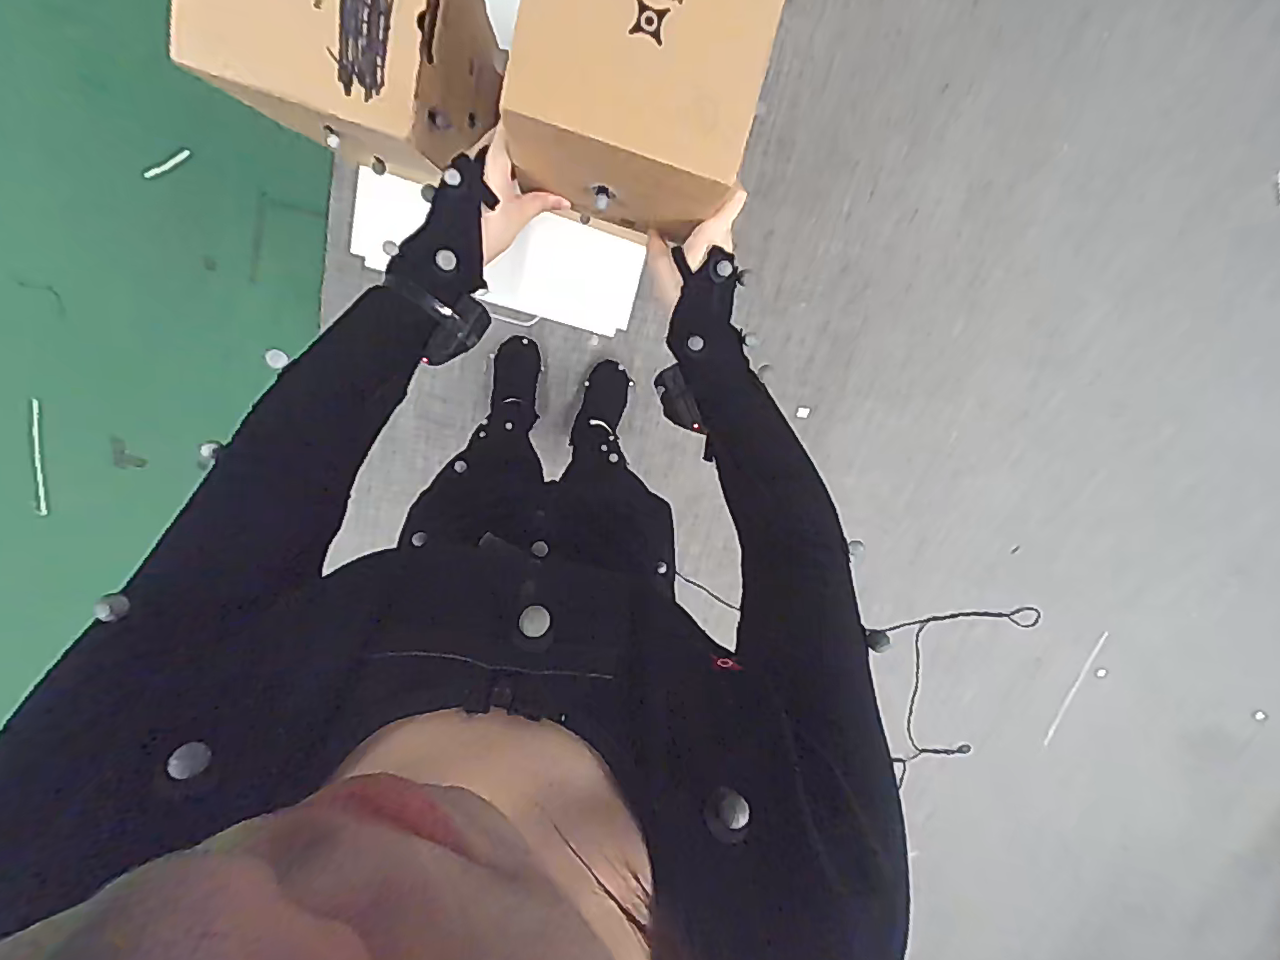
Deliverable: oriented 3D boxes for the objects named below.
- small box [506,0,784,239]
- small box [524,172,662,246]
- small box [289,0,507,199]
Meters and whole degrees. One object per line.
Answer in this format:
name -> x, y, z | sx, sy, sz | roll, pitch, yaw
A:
small box -> -0.001, -0.321, 0.440 | 0.168, 0.176, 0.179 | 13, 97, -11
small box -> -0.028, -0.401, 0.664 | 0.179, 0.176, 0.168 | 16, 106, -10
small box -> -0.266, -0.447, 0.628 | 0.179, 0.176, 0.168 | 14, 107, -10
